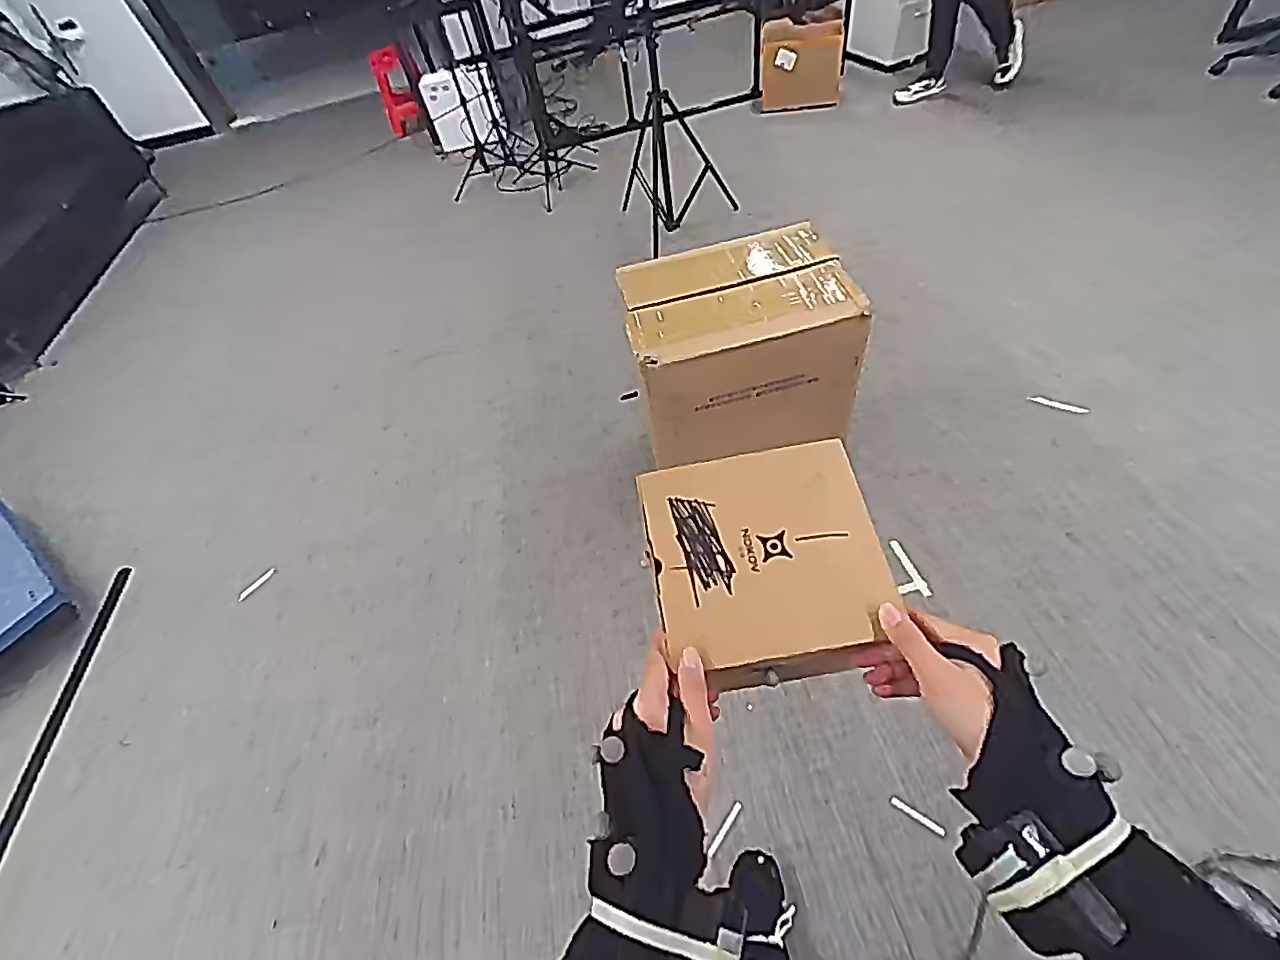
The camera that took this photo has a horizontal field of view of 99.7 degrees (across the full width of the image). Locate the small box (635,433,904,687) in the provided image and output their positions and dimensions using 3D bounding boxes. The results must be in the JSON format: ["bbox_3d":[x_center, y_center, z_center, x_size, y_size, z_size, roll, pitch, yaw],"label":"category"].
[{"bbox_3d":[0.100,0.082,0.491,0.179,0.176,0.168,-10,62,0],"label":"small box"}]
